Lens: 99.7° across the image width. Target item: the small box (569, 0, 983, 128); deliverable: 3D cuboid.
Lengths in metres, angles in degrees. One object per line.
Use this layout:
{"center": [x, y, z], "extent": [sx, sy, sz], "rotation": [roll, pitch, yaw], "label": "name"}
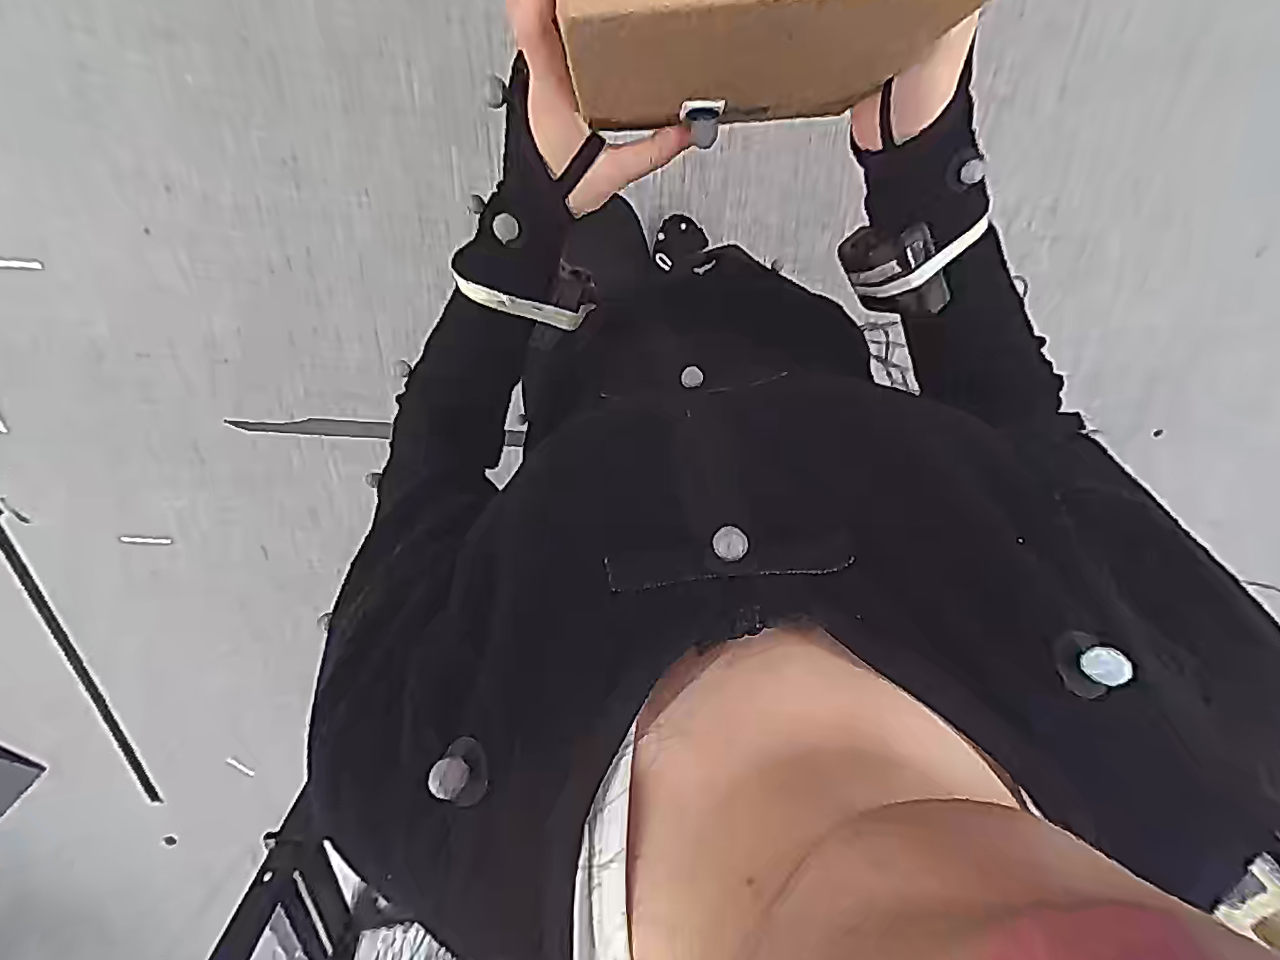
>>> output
{"center": [0.045, -0.279, 0.232], "extent": [0.168, 0.176, 0.179], "rotation": [-5, 111, 1], "label": "small box"}
